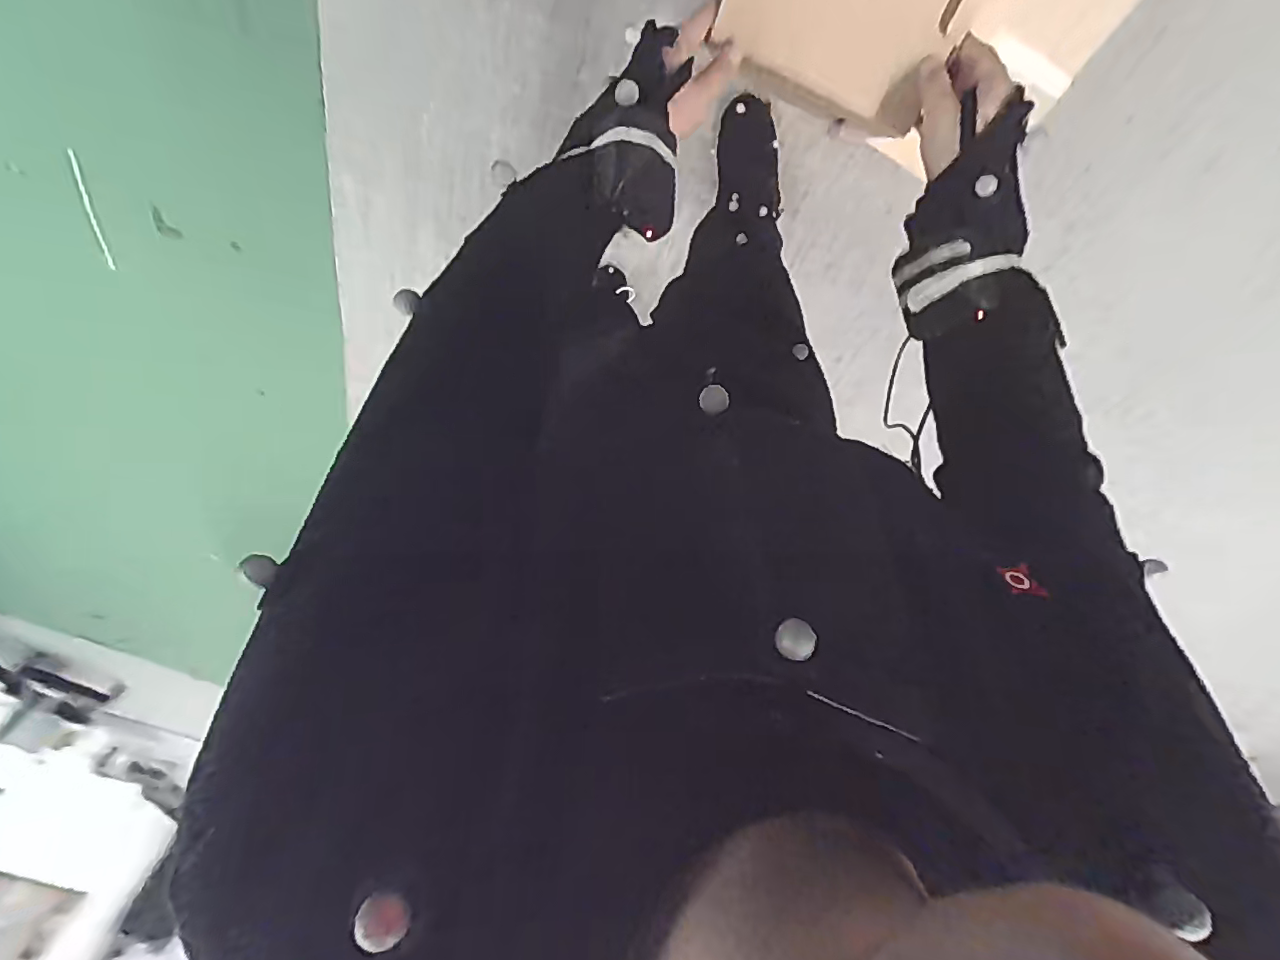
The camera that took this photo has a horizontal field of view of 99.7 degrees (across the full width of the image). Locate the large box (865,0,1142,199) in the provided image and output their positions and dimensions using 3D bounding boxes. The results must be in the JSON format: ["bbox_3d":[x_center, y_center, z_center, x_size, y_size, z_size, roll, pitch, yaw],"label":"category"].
[{"bbox_3d":[0.387,-0.677,0.757,0.408,0.320,0.320,25,133,-10],"label":"large box"}]

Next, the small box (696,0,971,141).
[{"bbox_3d":[0.160,-0.403,0.445,0.179,0.176,0.168,21,121,-4],"label":"small box"}]
